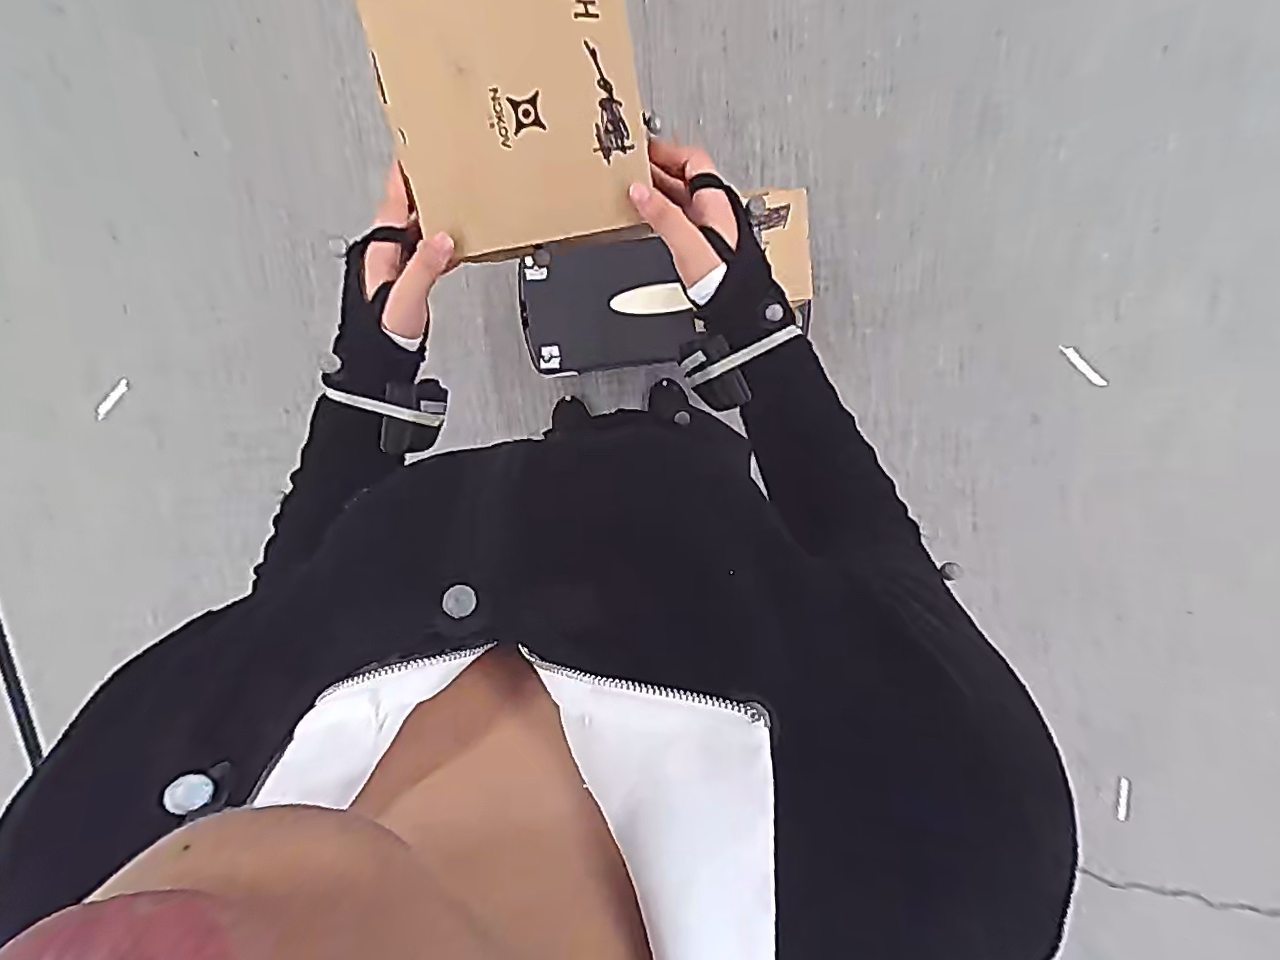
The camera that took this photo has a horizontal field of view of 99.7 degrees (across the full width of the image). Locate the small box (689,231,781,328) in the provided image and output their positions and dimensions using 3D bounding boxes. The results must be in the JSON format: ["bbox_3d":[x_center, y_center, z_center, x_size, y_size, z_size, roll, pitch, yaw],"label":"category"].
[{"bbox_3d":[0.193,-0.423,1.145,0.168,0.176,0.179,-7,100,3],"label":"small box"}]

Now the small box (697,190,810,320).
[{"bbox_3d":[0.199,-0.398,0.983,0.168,0.176,0.179,-7,101,3],"label":"small box"}]

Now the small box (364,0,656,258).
[{"bbox_3d":[-0.083,-0.285,0.449,0.179,0.176,0.168,-8,111,5],"label":"small box"}]
